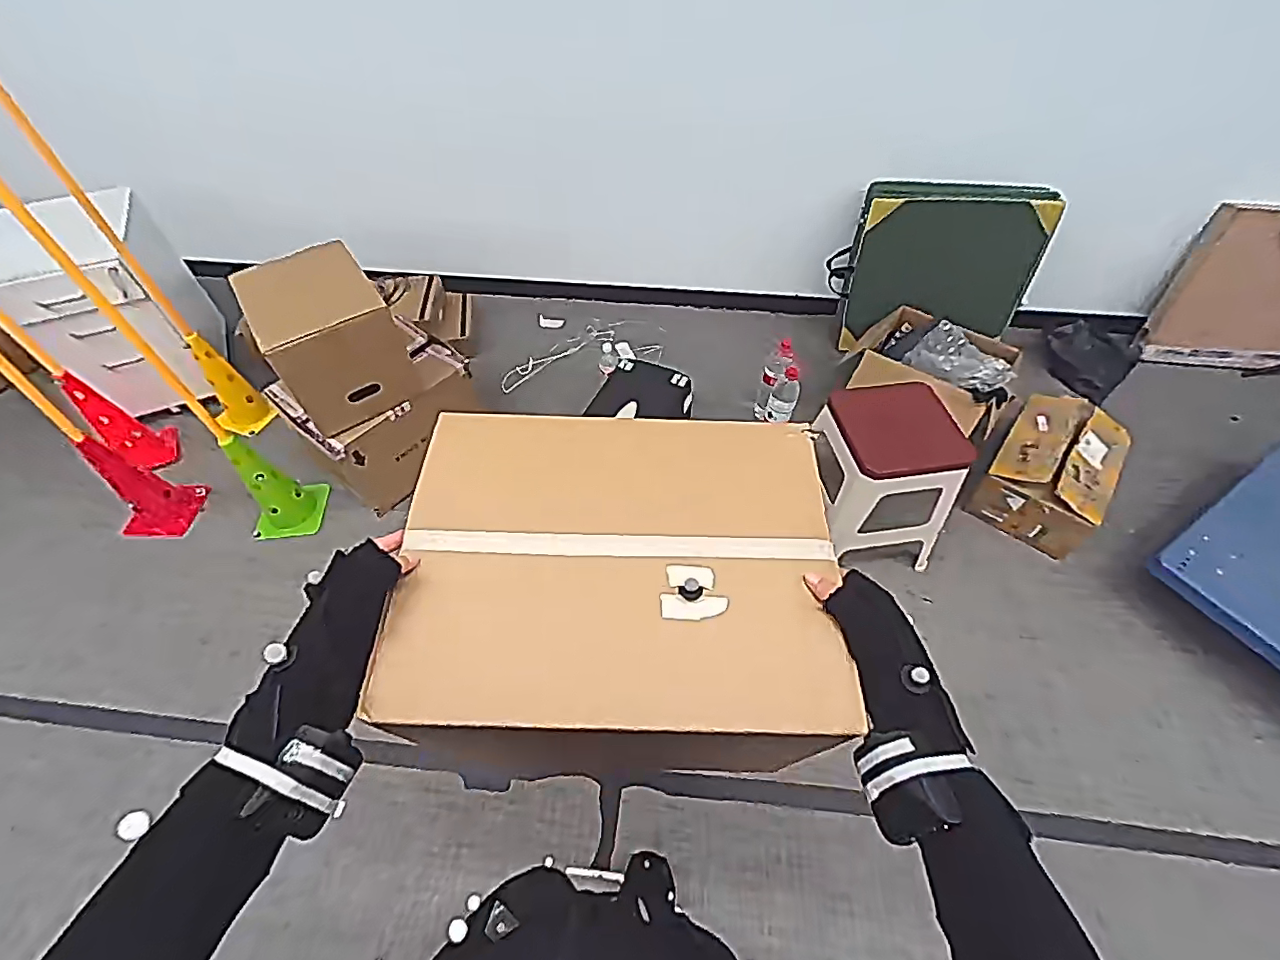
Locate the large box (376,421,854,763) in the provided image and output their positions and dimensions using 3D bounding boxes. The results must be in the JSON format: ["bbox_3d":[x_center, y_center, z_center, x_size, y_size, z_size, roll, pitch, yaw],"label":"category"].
[{"bbox_3d":[-0.022,0.148,0.648,0.408,0.320,0.320,2,57,0],"label":"large box"}]
